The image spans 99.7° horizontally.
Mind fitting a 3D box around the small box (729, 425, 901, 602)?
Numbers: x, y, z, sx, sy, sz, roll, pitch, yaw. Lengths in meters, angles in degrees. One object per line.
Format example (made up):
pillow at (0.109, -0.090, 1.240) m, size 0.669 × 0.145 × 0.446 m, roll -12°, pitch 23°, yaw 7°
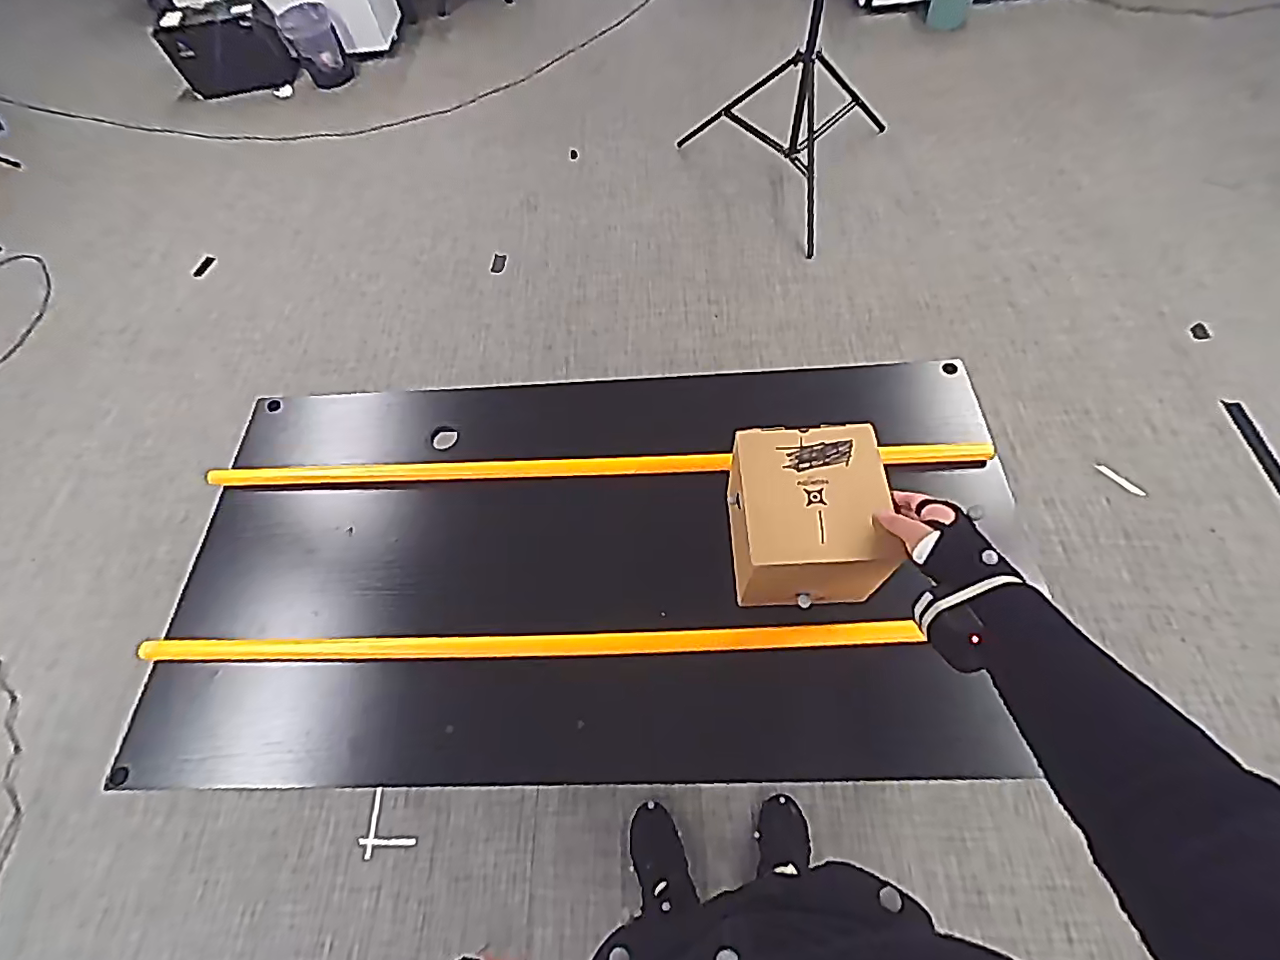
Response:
small box at (0.207, 0.049, 0.697) m, size 0.168 × 0.176 × 0.179 m, roll -3°, pitch 62°, yaw 4°
